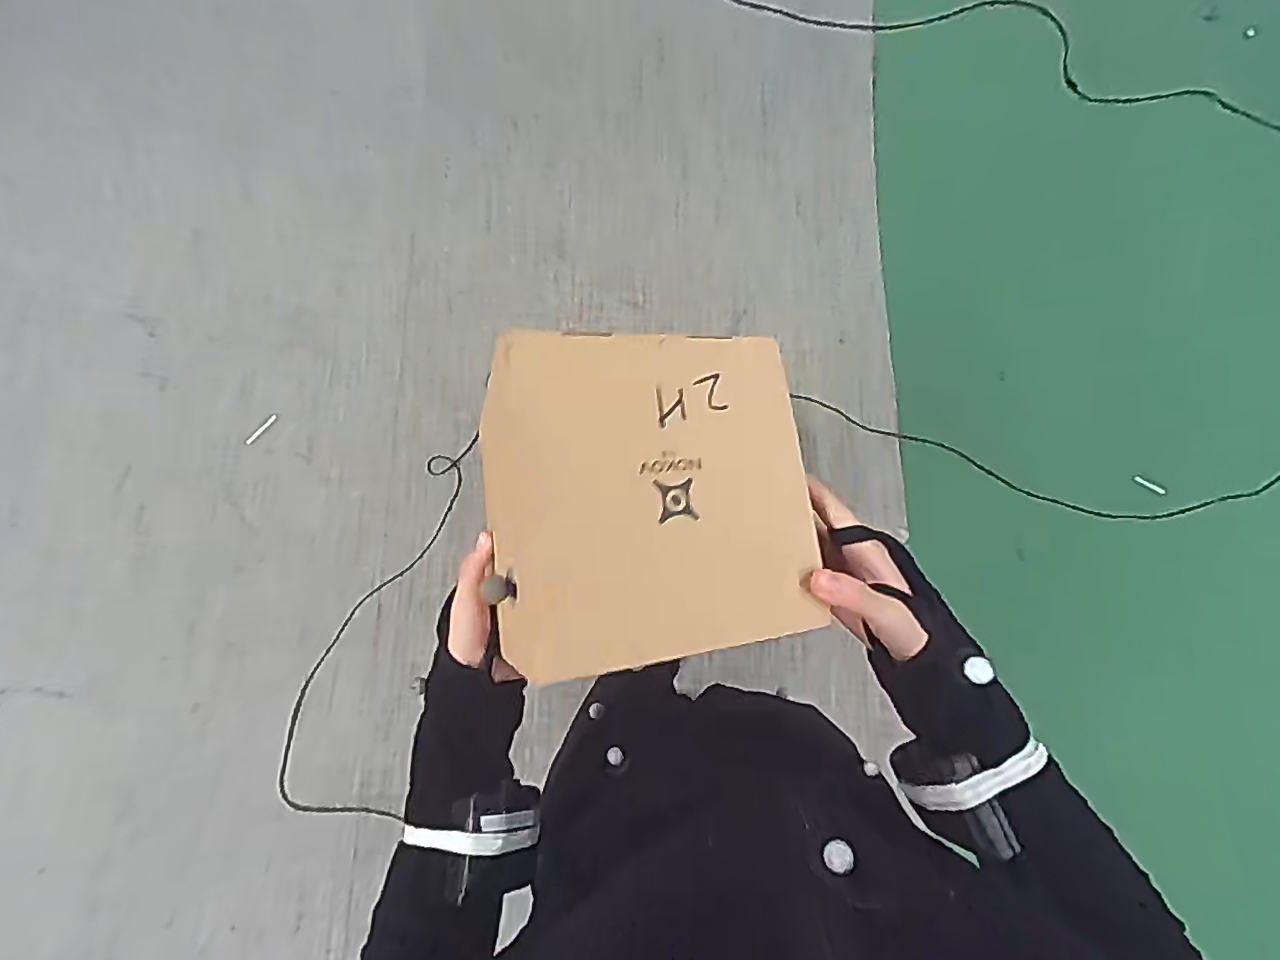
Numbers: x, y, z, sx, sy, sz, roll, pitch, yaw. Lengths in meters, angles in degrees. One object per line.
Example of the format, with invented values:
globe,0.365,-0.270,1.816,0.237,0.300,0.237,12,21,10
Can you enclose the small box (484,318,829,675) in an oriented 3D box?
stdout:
small box,-0.009,0.015,0.356,0.168,0.176,0.179,-4,79,-21
